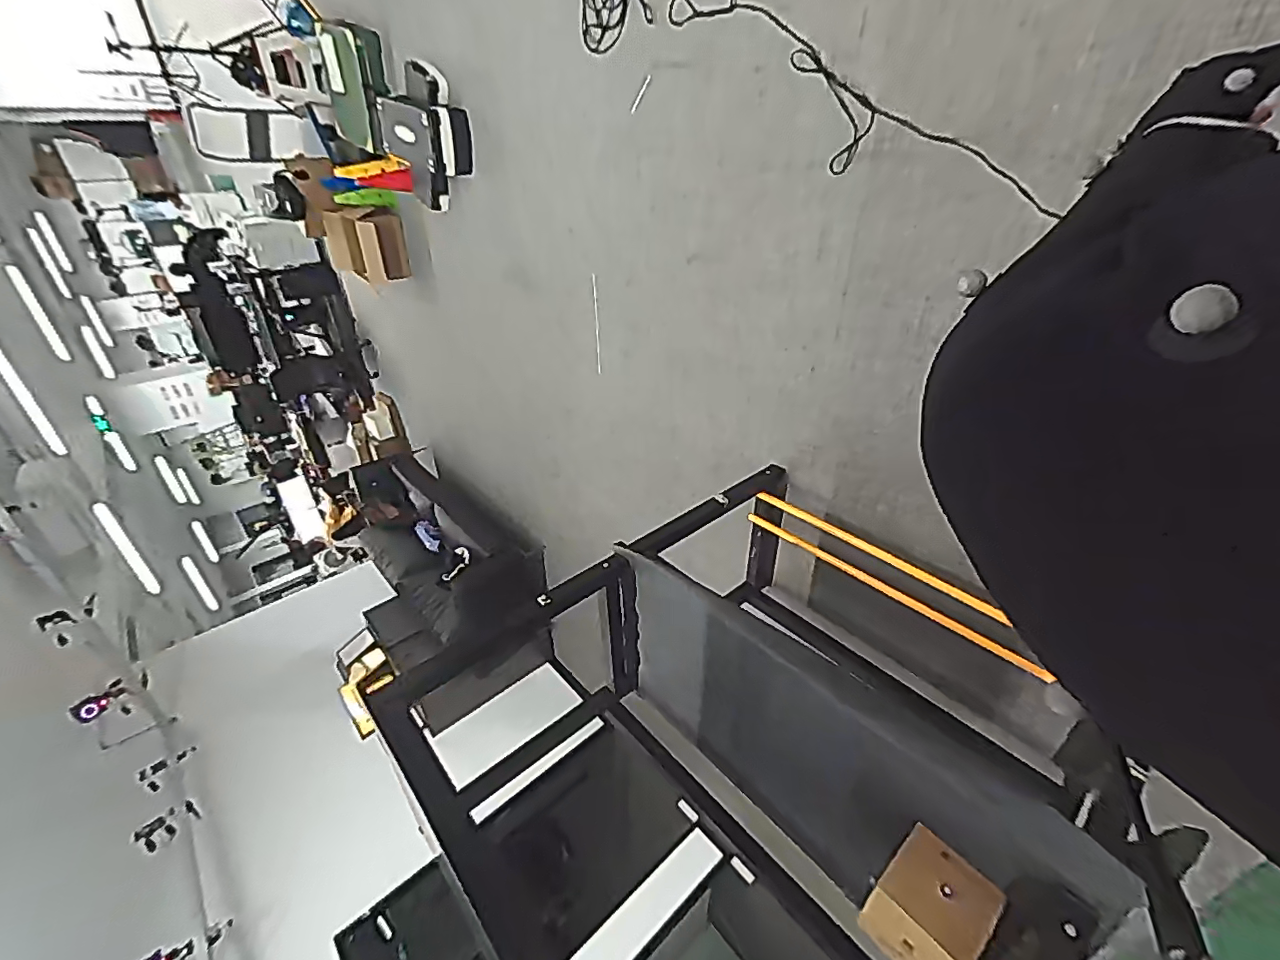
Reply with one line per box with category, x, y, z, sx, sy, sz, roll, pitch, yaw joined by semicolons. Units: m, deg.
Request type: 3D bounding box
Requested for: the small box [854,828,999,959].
small box;0.537;0.807;1.015;0.168;0.176;0.179;34;136;39
